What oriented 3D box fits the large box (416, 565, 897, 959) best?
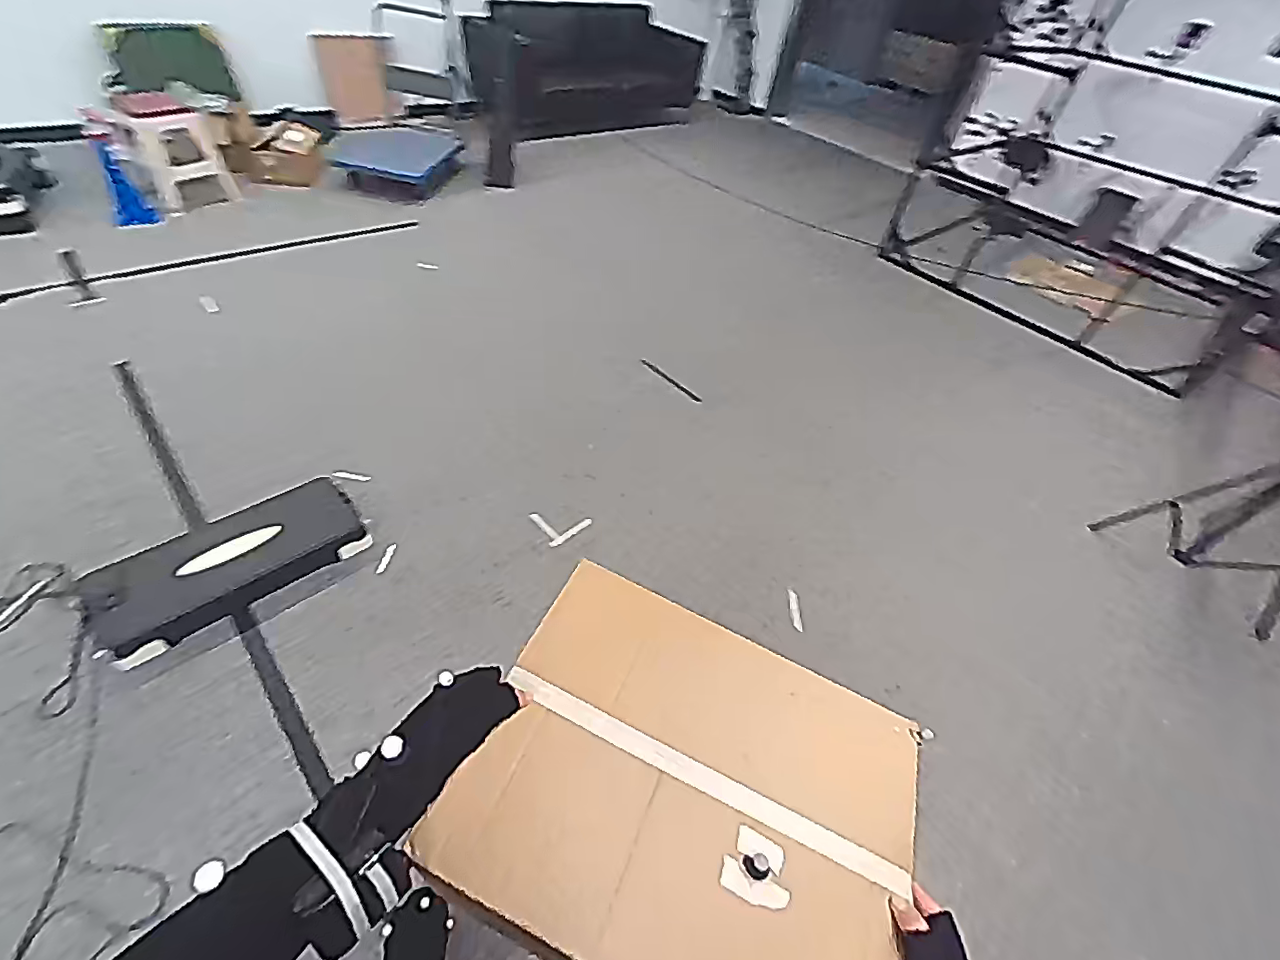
[{"bbox_3d":[0.018,0.370,0.622,0.408,0.320,0.320,25,47,7],"label":"large box"}]
